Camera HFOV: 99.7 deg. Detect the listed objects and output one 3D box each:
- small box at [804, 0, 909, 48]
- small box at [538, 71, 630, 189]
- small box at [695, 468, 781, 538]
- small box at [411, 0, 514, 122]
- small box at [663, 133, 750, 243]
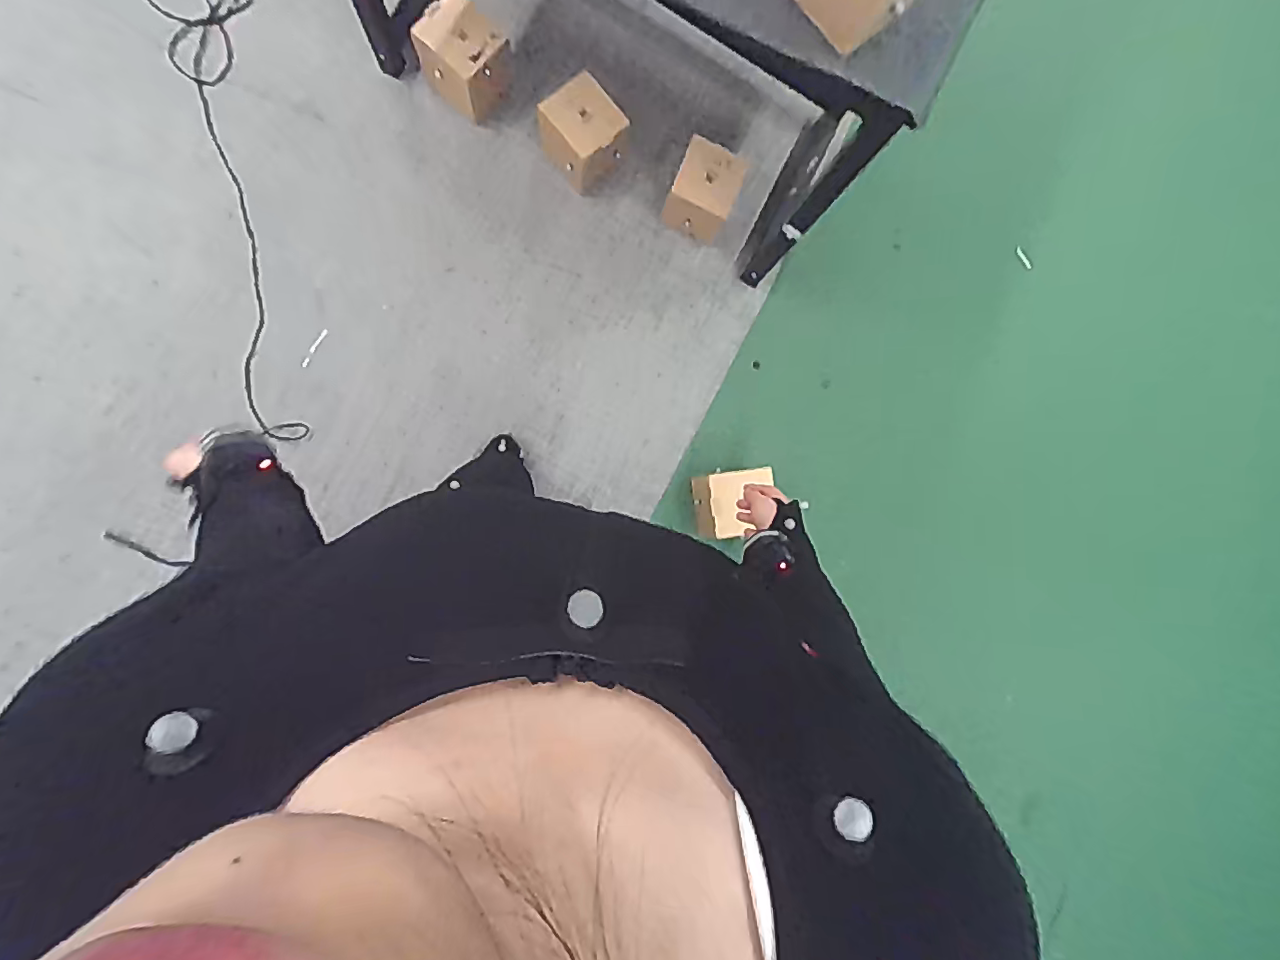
[{"bbox_3d":[0.324,-0.776,0.759,0.168,0.176,0.179,-42,93,-9],"label":"small box"},{"bbox_3d":[-0.150,-0.915,1.437,0.168,0.176,0.179,-43,93,-8],"label":"small box"},{"bbox_3d":[0.261,0.059,1.469,0.179,0.176,0.168,-8,90,-8],"label":"small box"},{"bbox_3d":[-0.449,-1.087,1.400,0.179,0.176,0.168,40,84,-4],"label":"small box"},{"bbox_3d":[0.172,-0.787,1.478,0.168,0.176,0.179,23,85,-8],"label":"small box"}]
